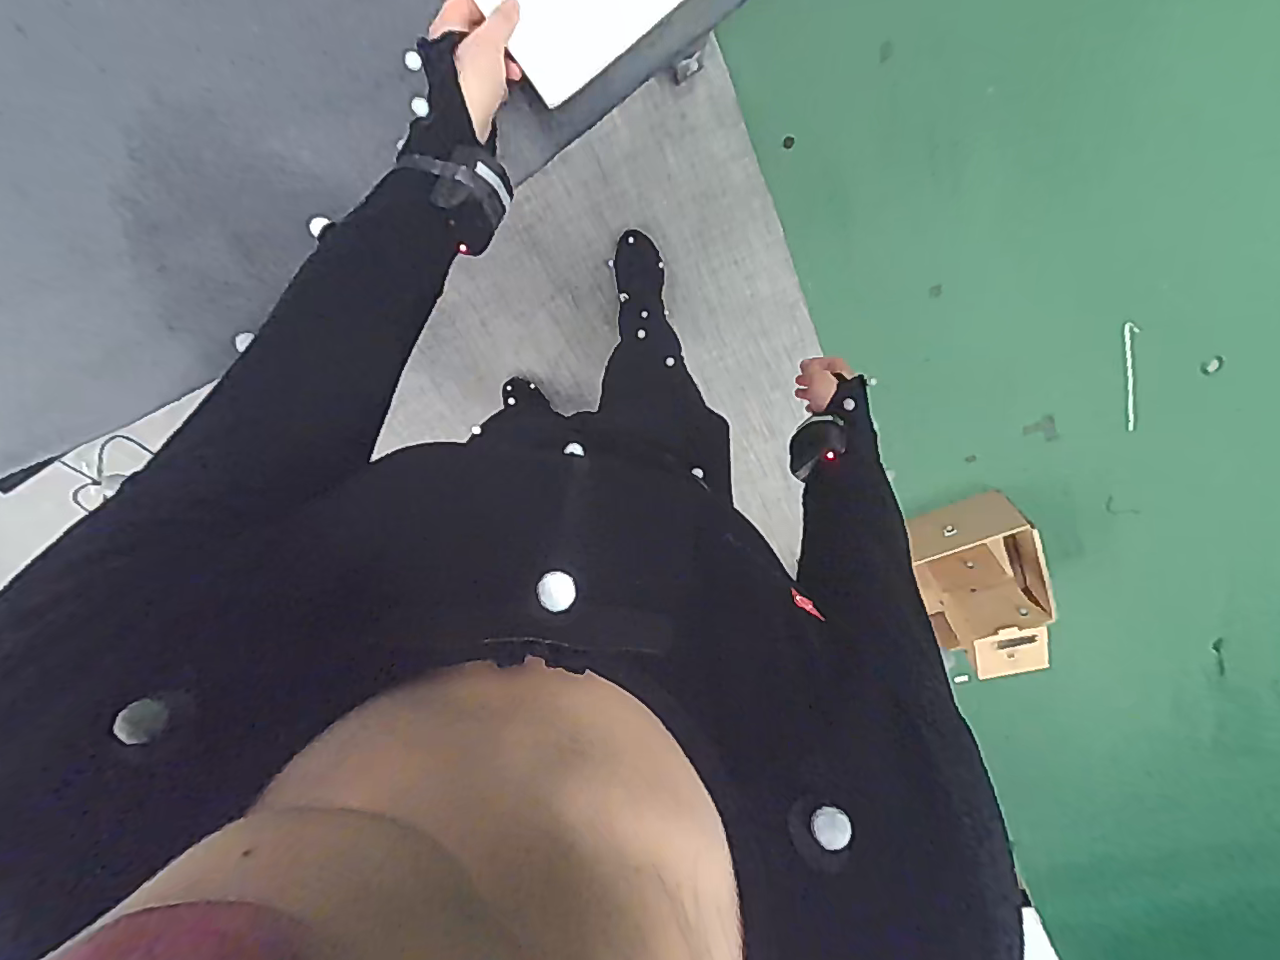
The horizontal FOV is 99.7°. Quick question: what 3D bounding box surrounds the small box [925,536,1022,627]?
[{"bbox_3d":[0.956,0.289,1.559,0.179,0.176,0.168,-23,120,19],"label":"small box"}]
